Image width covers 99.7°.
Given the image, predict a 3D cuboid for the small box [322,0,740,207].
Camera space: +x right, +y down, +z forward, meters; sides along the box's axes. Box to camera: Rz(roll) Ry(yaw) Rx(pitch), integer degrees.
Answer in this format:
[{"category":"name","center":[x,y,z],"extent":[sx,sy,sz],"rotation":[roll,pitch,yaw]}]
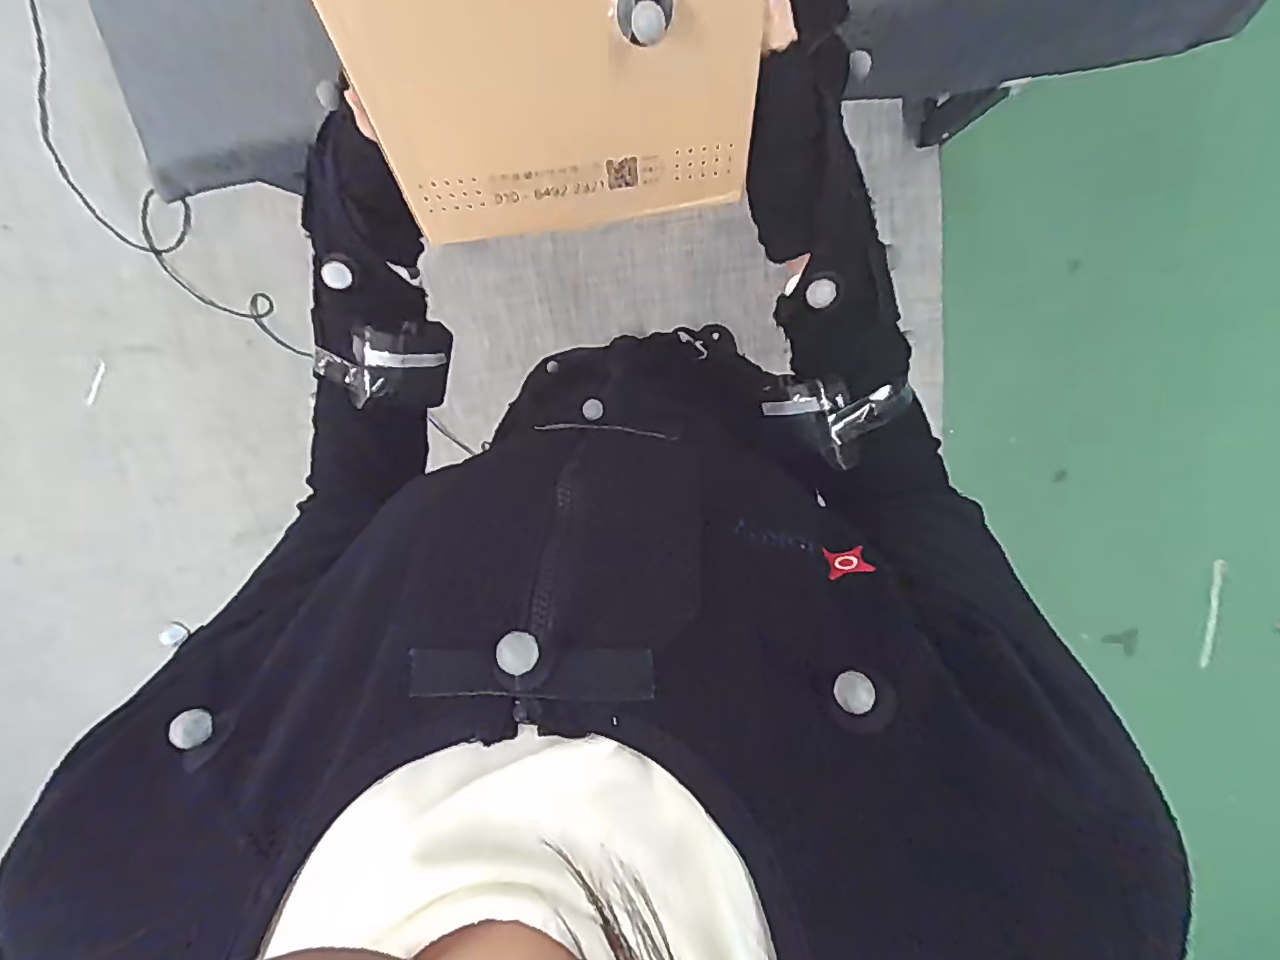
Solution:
[{"category":"small box","center":[-0.047,-0.252,0.253],"extent":[0.168,0.176,0.179],"rotation":[-8,62,-1]}]
